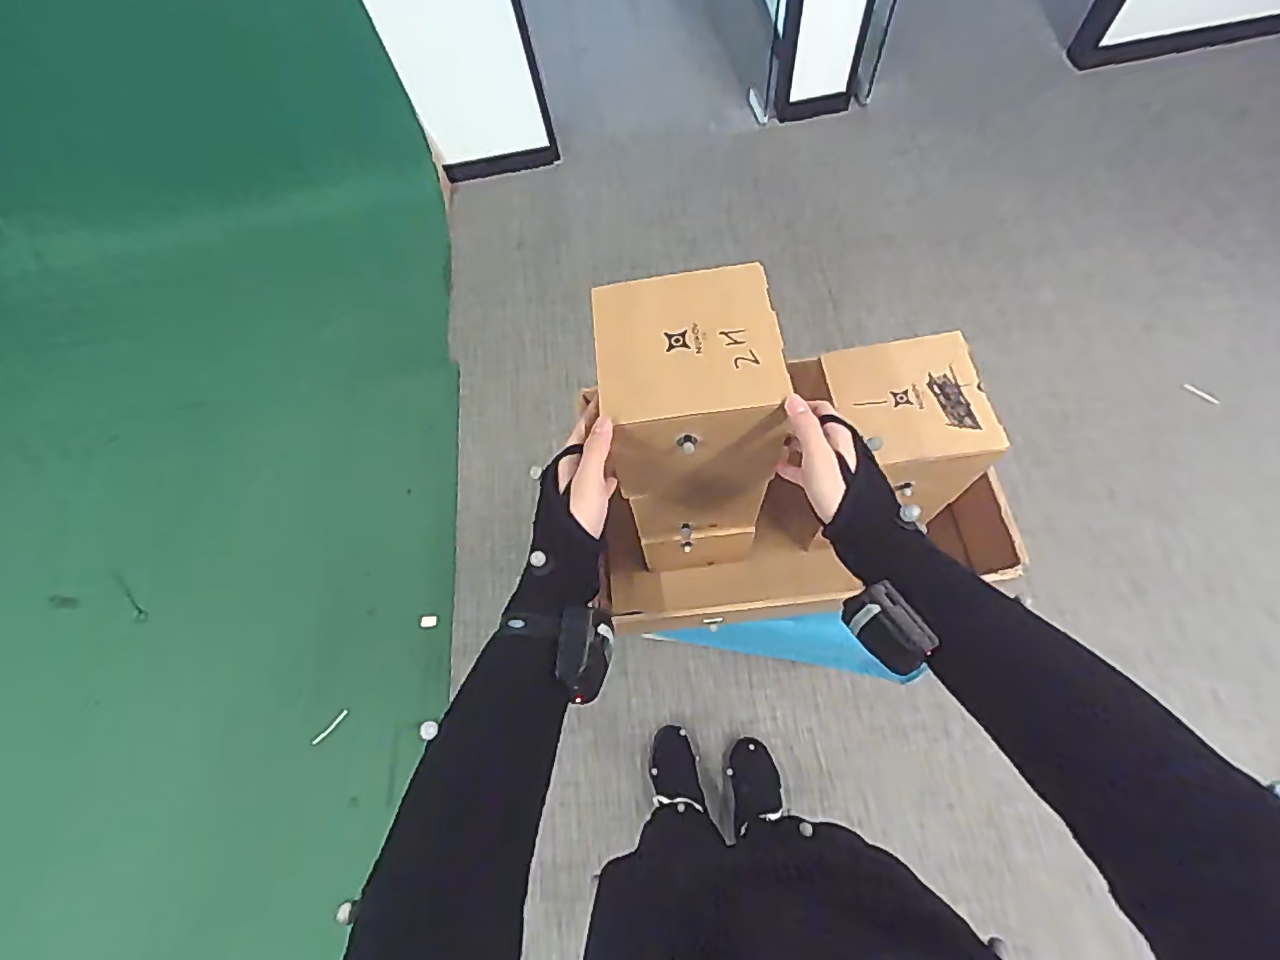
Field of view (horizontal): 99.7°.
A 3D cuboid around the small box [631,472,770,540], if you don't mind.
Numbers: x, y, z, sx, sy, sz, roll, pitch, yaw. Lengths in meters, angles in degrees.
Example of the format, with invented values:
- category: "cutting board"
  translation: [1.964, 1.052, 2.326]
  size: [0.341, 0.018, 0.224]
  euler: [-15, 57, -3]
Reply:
- category: "small box"
  translation: [0.069, -0.033, 0.729]
  size: [0.168, 0.176, 0.179]
  euler: [-7, 66, 3]

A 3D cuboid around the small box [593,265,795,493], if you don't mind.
- category: "small box"
  translation: [0.053, -0.096, 0.578]
  size: [0.179, 0.176, 0.168]
  euler: [-7, 66, 3]

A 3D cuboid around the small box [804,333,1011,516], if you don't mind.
- category: "small box"
  translation: [0.330, -0.063, 0.708]
  size: [0.179, 0.176, 0.168]
  euler: [-9, 65, 5]

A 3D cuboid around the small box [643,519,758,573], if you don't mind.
- category: "small box"
  translation: [0.087, 0.038, 0.874]
  size: [0.168, 0.176, 0.179]
  euler: [-7, 65, 3]
